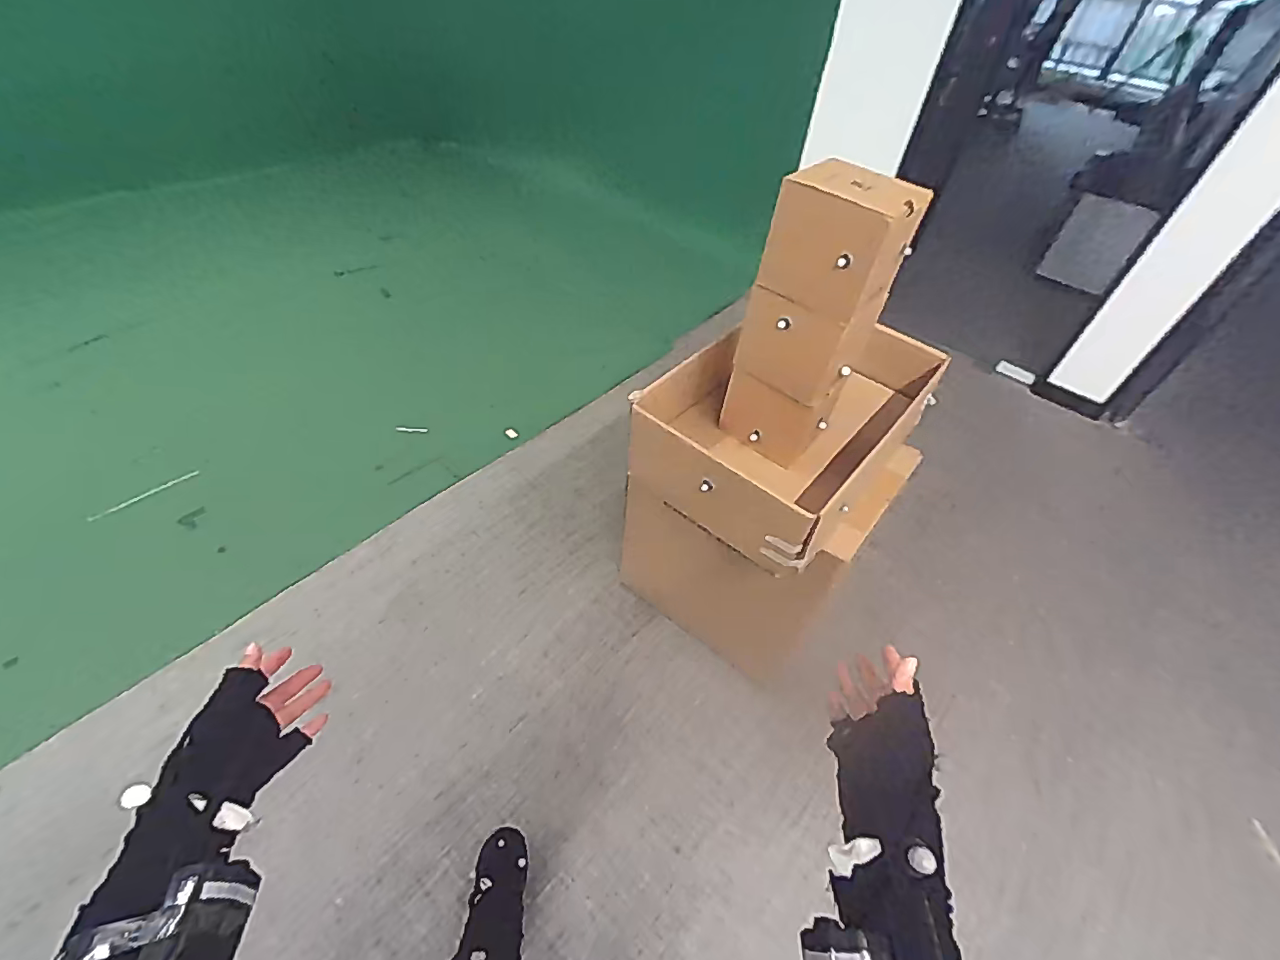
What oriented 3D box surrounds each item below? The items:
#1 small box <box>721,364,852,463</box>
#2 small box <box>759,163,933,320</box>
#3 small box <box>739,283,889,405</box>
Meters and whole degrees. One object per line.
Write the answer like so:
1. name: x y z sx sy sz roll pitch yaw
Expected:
1. small box: 0.291 -0.158 1.103 0.179 0.176 0.168 35 52 22
2. small box: 0.319 -0.376 0.861 0.179 0.176 0.168 33 51 23
3. small box: 0.304 -0.266 0.980 0.179 0.176 0.168 37 54 24
